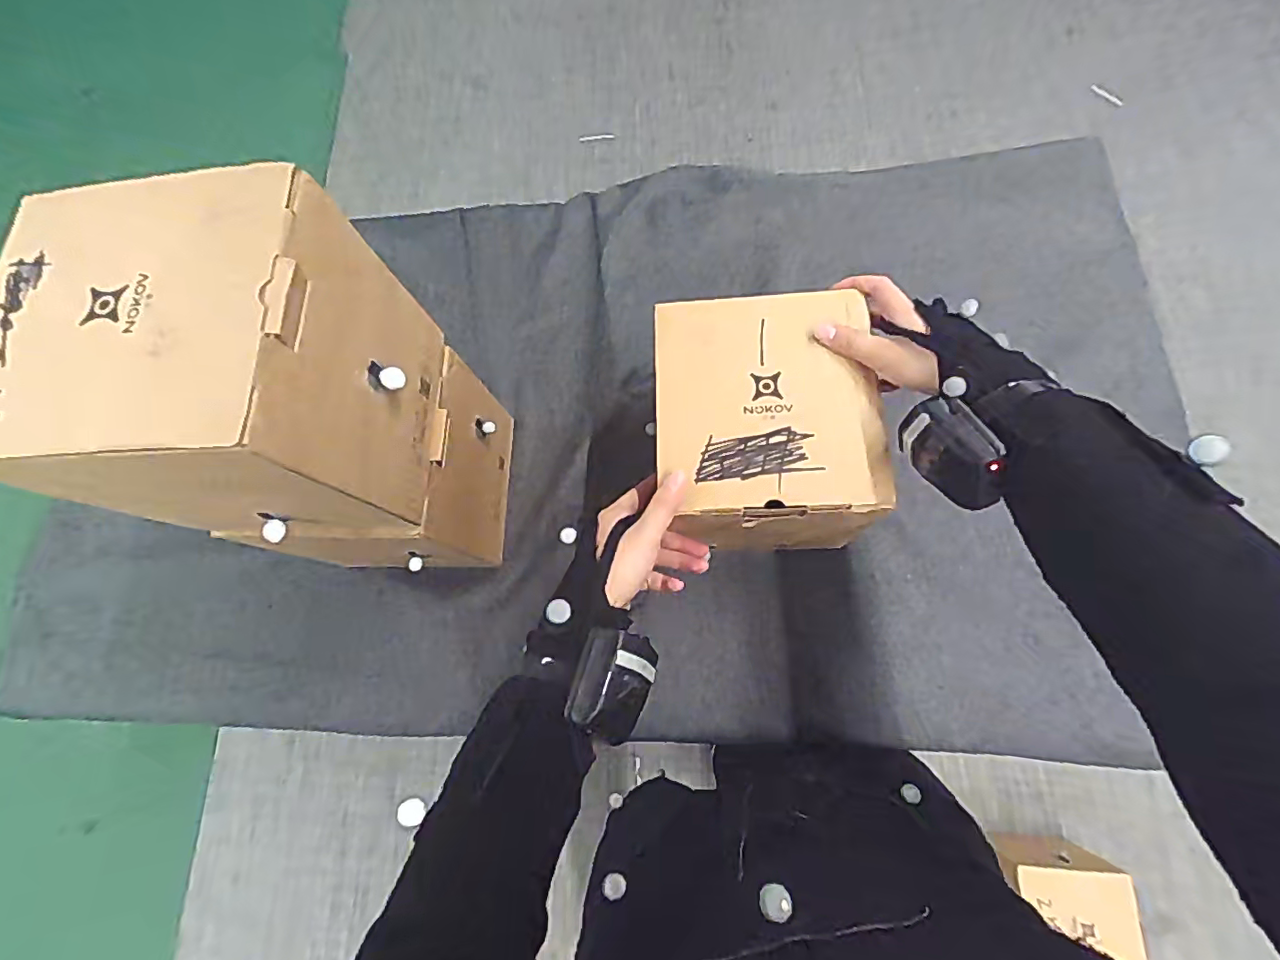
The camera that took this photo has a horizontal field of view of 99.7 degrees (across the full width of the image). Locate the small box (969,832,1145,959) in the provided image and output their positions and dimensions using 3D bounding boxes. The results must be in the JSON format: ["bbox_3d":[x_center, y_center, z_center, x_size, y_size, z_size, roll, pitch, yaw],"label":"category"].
[{"bbox_3d":[0.710,0.734,0.938,0.179,0.176,0.168,0,73,7],"label":"small box"}]

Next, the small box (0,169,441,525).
[{"bbox_3d":[-0.253,-0.068,0.359,0.179,0.176,0.168,-2,72,5],"label":"small box"}]

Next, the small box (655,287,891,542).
[{"bbox_3d":[0.103,-0.042,0.481,0.168,0.176,0.179,-2,72,6],"label":"small box"}]

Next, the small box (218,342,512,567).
[{"bbox_3d":[-0.234,-0.012,0.512,0.179,0.176,0.168,-1,72,7],"label":"small box"}]
